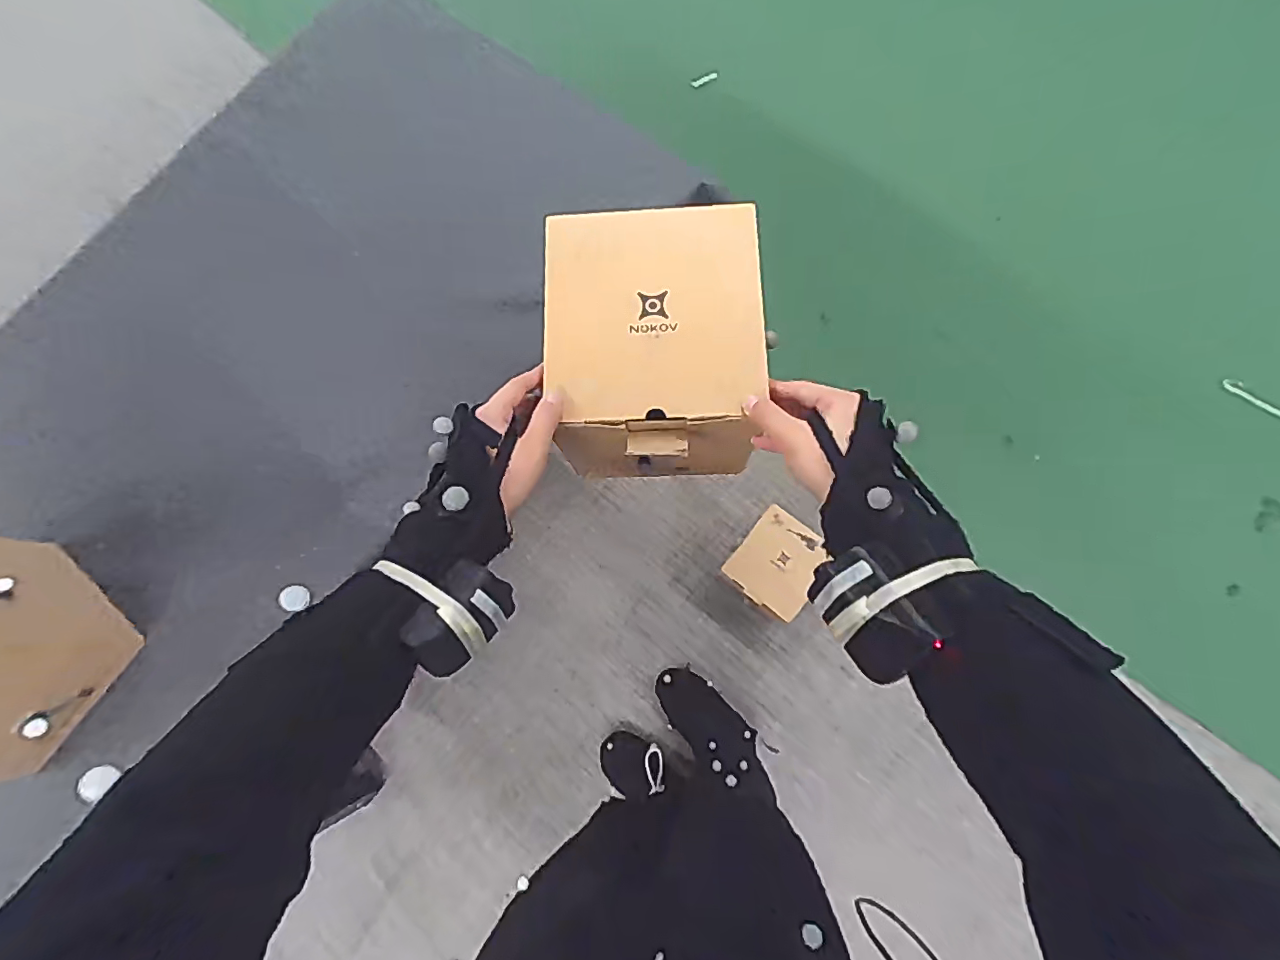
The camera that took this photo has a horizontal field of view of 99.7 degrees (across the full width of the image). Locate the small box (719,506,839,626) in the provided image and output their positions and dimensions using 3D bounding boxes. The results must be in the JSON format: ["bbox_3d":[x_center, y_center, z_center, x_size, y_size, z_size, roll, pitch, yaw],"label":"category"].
[{"bbox_3d":[0.283,0.185,1.128,0.168,0.176,0.179,38,84,15],"label":"small box"}]

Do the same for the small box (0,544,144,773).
[{"bbox_3d":[-0.636,0.166,0.498,0.179,0.176,0.168,35,83,13],"label":"small box"}]

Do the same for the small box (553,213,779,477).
[{"bbox_3d":[0.022,-0.107,0.485,0.168,0.176,0.179,-1,77,3],"label":"small box"}]
